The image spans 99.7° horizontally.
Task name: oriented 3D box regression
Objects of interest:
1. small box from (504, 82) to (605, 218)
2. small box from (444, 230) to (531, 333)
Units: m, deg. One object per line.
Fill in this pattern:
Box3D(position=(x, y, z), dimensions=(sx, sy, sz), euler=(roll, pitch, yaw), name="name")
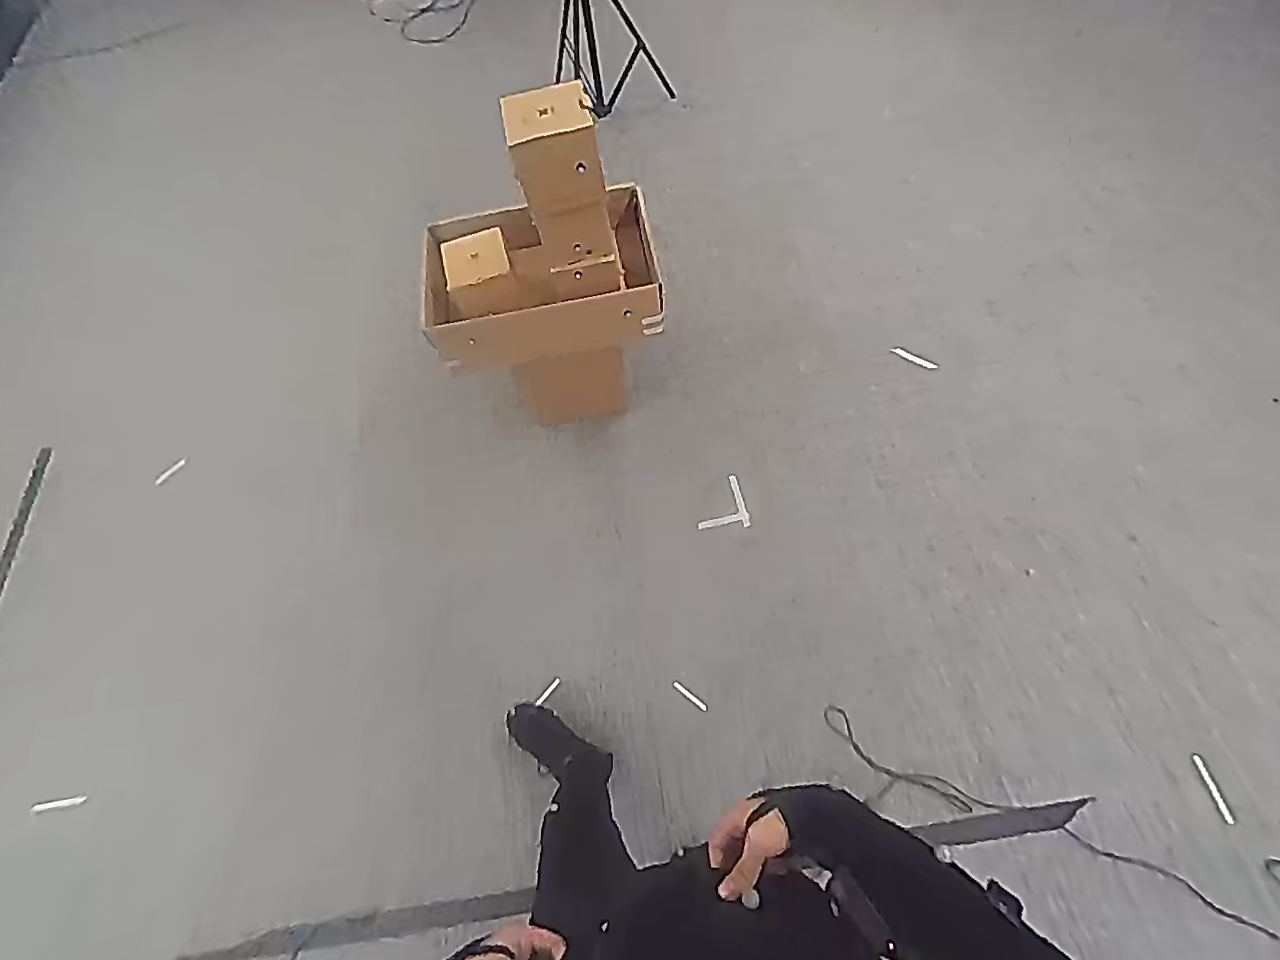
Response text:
Box3D(position=(-0.175, -0.696, 1.152), dimensions=(0.179, 0.176, 0.168), euler=(-13, 64, 0), name="small box")
Box3D(position=(-0.411, -0.535, 1.469), dimensions=(0.168, 0.176, 0.179), euler=(-18, 65, -2), name="small box")
